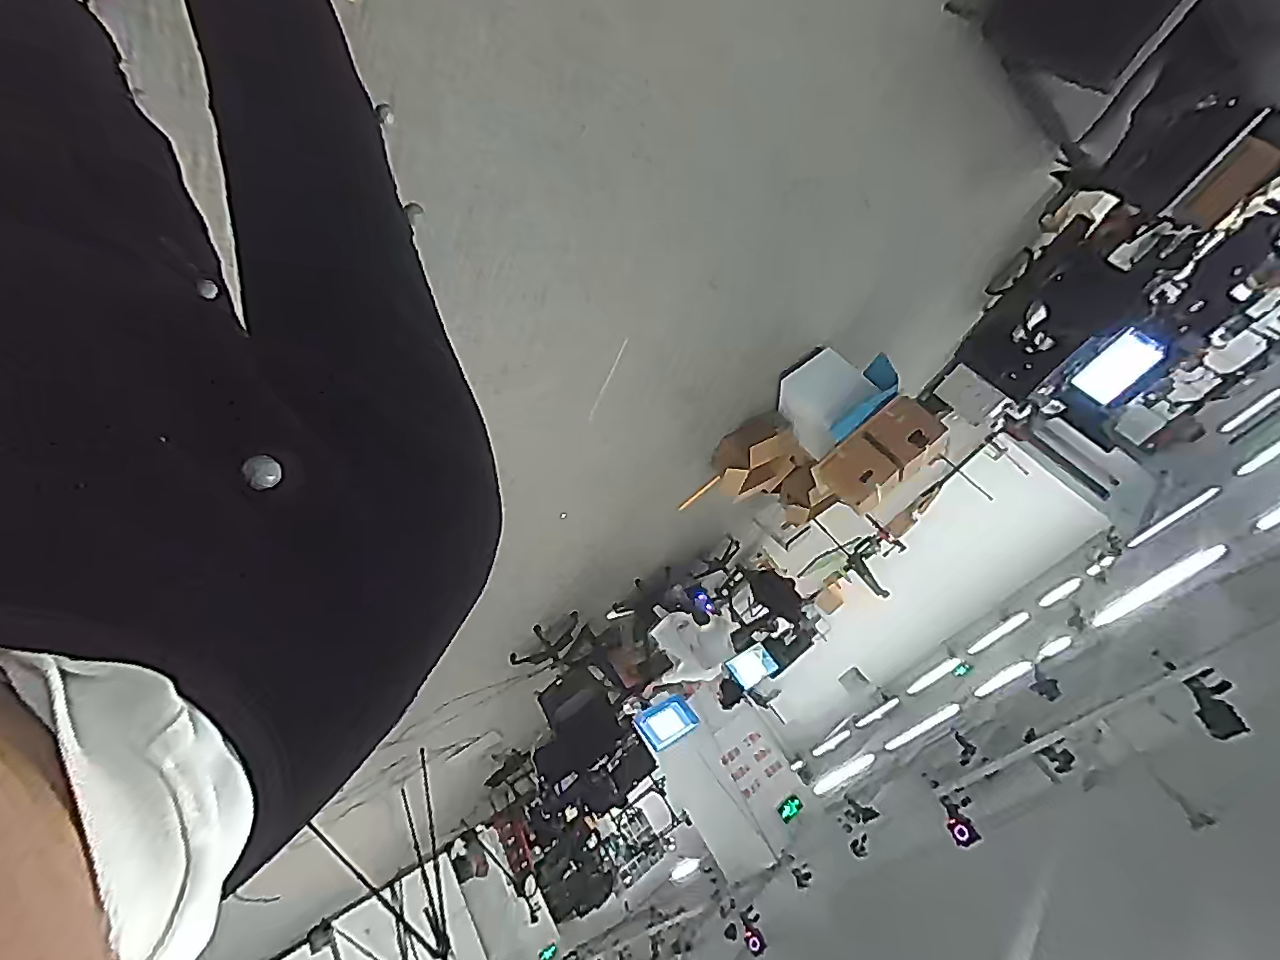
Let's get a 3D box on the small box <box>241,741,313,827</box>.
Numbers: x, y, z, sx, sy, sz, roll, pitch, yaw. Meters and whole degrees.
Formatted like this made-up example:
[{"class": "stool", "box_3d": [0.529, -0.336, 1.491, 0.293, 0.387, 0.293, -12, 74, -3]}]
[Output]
[{"class": "small box", "box_3d": [-1.185, 0.981, 1.758, 0.168, 0.176, 0.179, -9, 145, -42]}]
